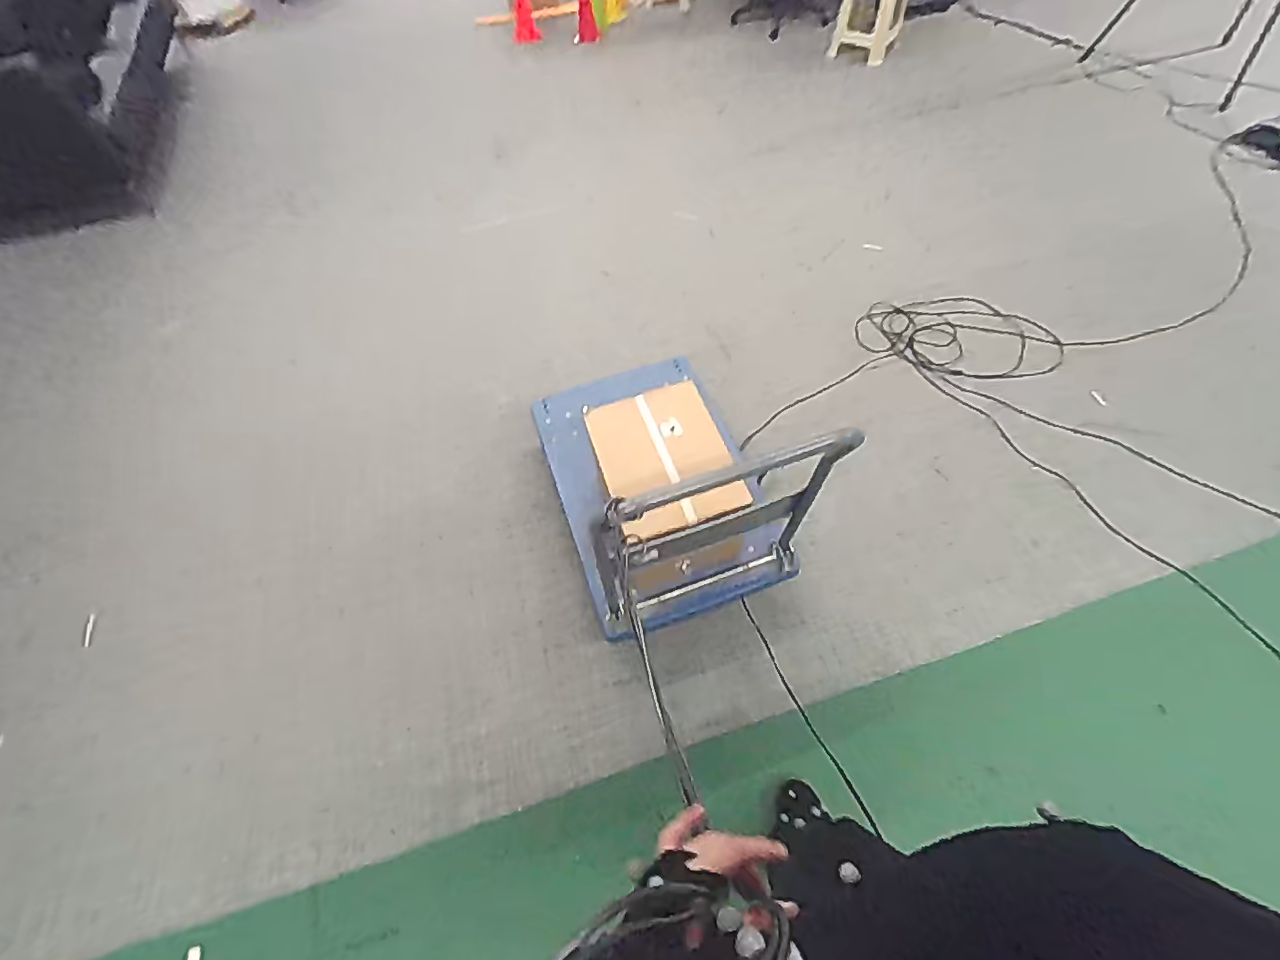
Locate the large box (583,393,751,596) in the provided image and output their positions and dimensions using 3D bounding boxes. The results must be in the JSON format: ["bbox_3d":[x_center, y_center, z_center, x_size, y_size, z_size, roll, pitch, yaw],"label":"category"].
[{"bbox_3d":[0.066,0.041,1.478,0.320,0.320,0.408,-17,58,-8],"label":"large box"}]
